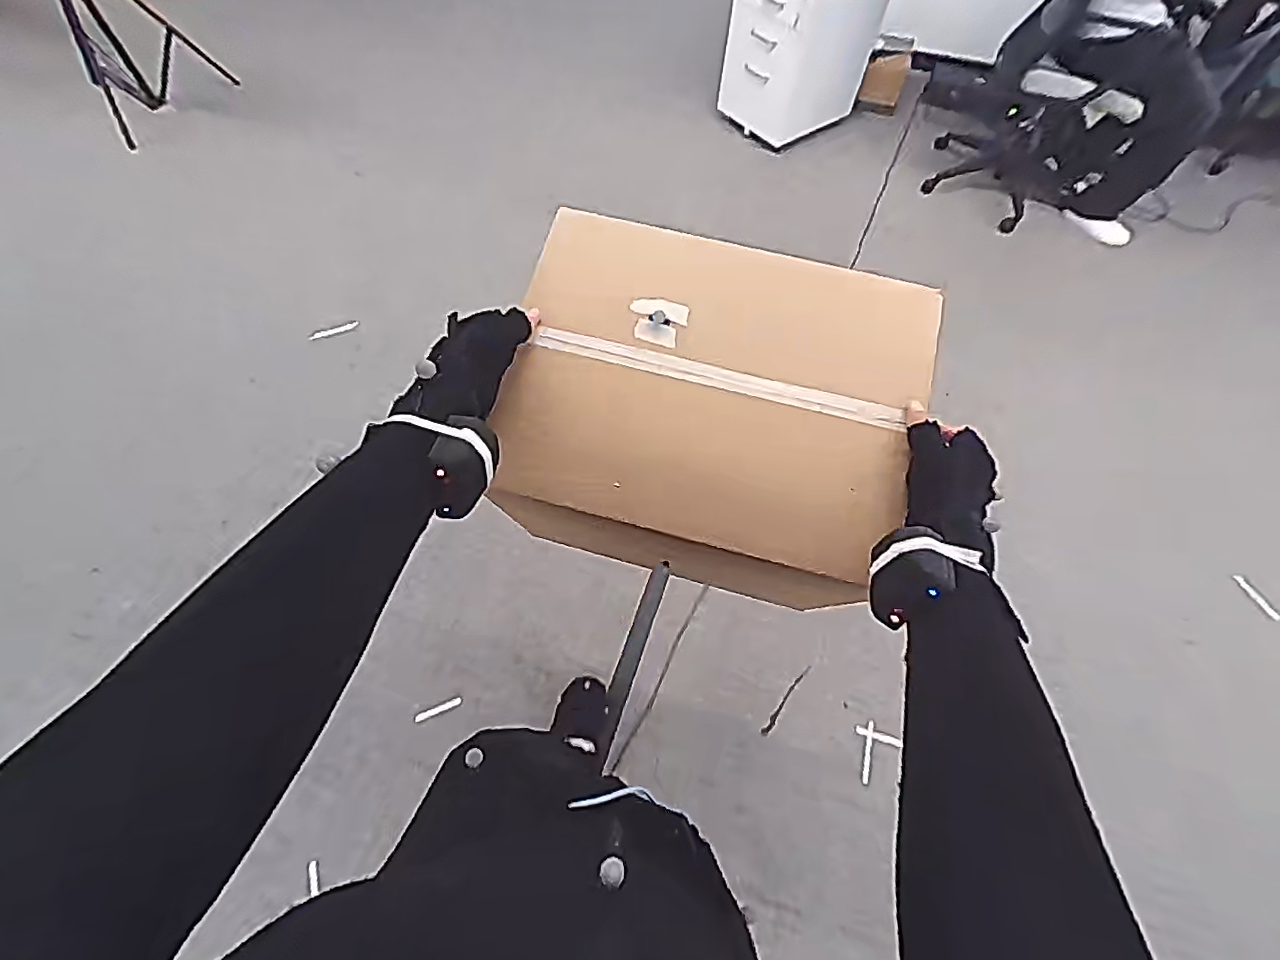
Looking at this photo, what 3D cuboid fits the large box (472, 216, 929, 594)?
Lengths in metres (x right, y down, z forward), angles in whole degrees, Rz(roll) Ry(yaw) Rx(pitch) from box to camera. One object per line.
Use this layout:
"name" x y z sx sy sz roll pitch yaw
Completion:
"large box" 0.074 -0.062 0.678 0.408 0.320 0.320 15 74 6
